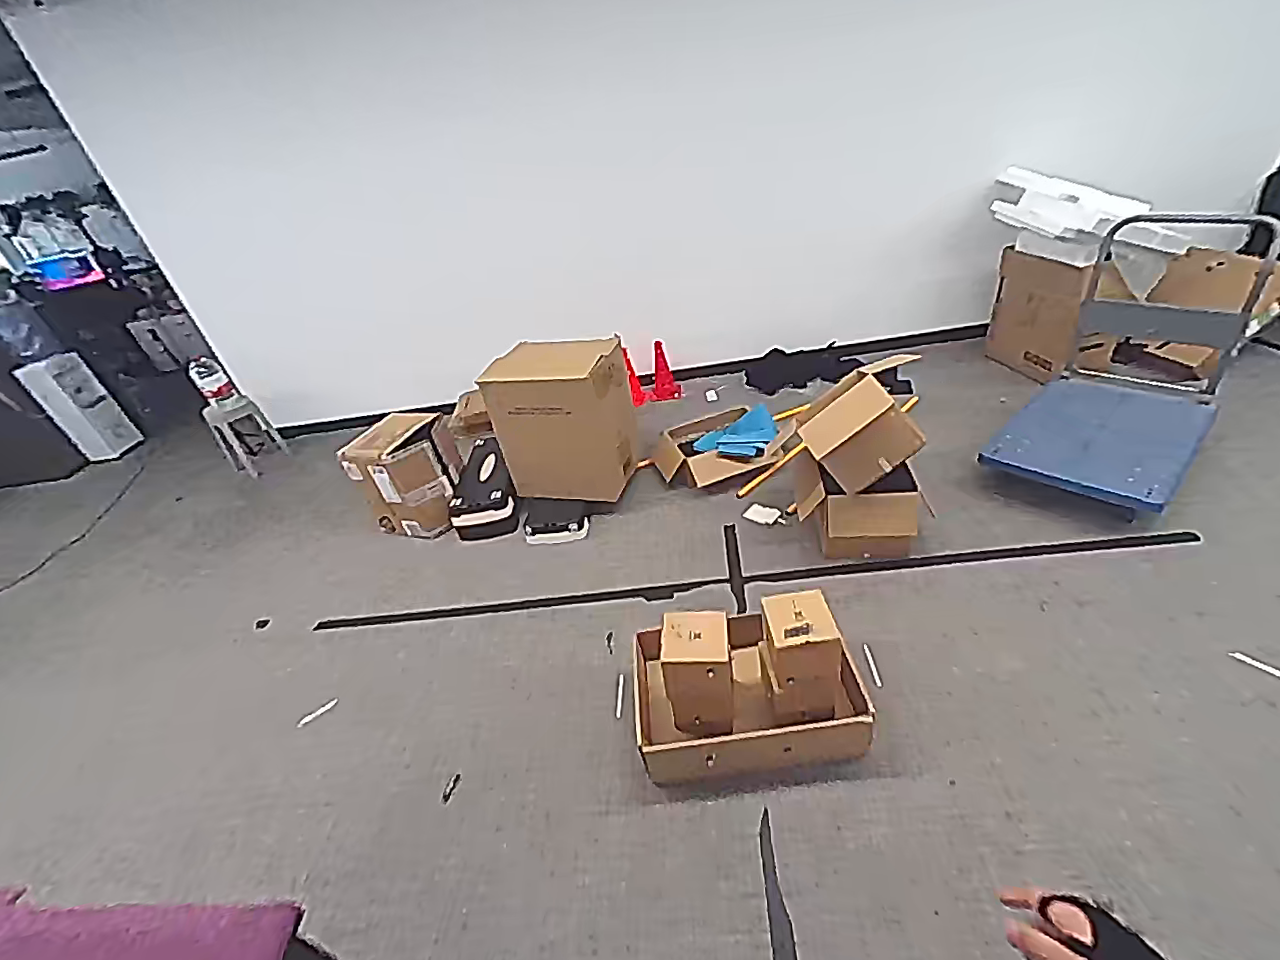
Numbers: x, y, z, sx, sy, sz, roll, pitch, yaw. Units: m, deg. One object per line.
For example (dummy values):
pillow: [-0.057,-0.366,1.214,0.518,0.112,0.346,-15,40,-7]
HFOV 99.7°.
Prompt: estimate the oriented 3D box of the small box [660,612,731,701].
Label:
small box: [0.156,0.480,1.469,0.179,0.176,0.168,-4,34,10]

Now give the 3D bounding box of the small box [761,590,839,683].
small box: [0.431,0.427,1.459,0.168,0.176,0.179,-10,32,4]

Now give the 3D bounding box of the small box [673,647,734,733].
small box: [0.186,0.605,1.575,0.168,0.176,0.179,-2,34,11]
